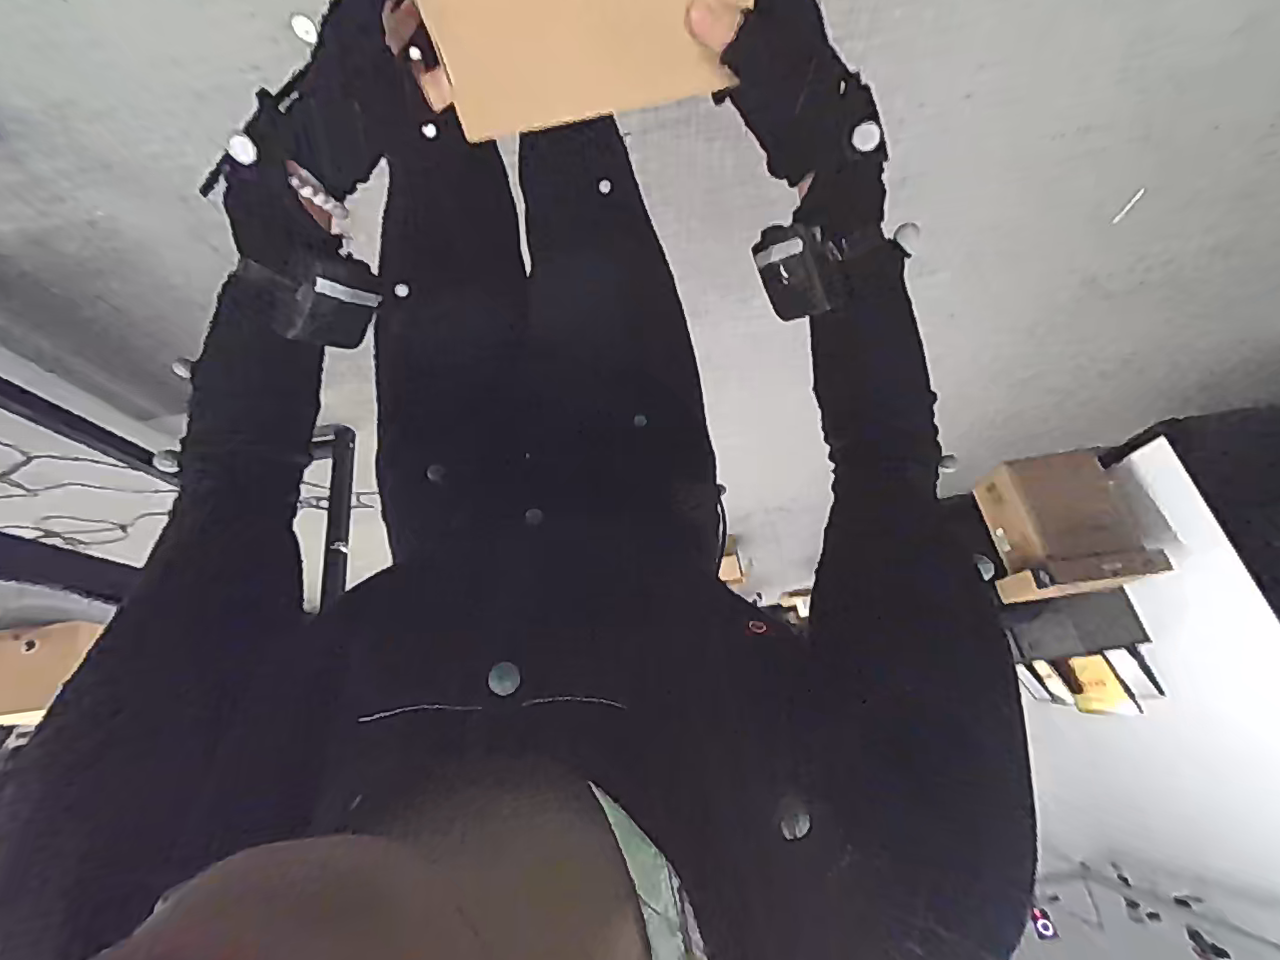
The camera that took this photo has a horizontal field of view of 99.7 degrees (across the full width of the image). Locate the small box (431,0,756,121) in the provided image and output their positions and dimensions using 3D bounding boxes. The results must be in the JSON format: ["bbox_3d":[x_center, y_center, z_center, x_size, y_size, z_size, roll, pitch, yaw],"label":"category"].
[{"bbox_3d":[-0.041,-0.339,0.288,0.179,0.176,0.168,-14,153,-2],"label":"small box"}]
